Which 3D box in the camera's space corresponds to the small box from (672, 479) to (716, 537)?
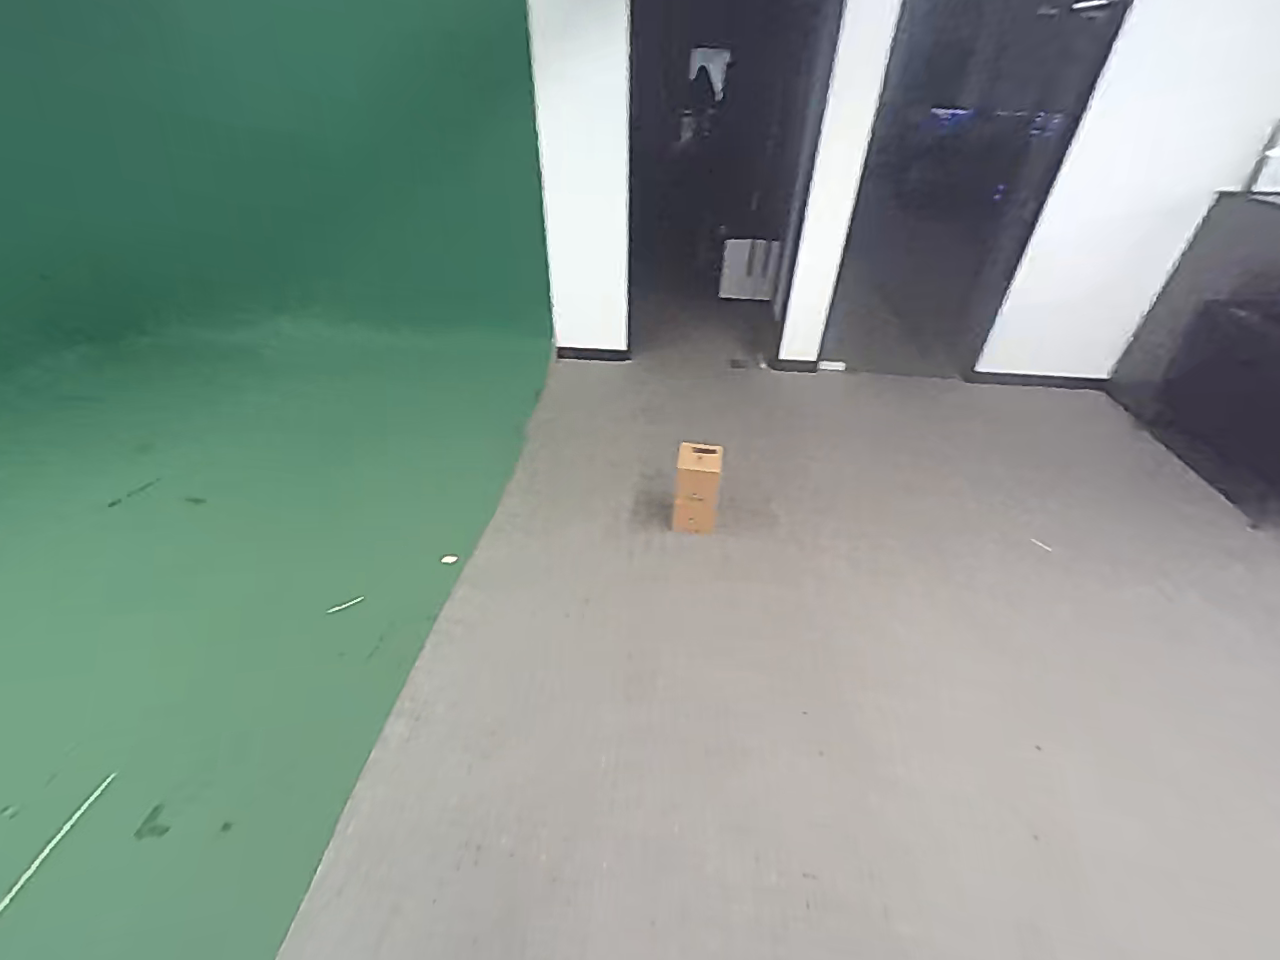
[{"bbox_3d":[0.223,0.117,2.240,0.168,0.176,0.179,5,38,4],"label":"small box"}]
